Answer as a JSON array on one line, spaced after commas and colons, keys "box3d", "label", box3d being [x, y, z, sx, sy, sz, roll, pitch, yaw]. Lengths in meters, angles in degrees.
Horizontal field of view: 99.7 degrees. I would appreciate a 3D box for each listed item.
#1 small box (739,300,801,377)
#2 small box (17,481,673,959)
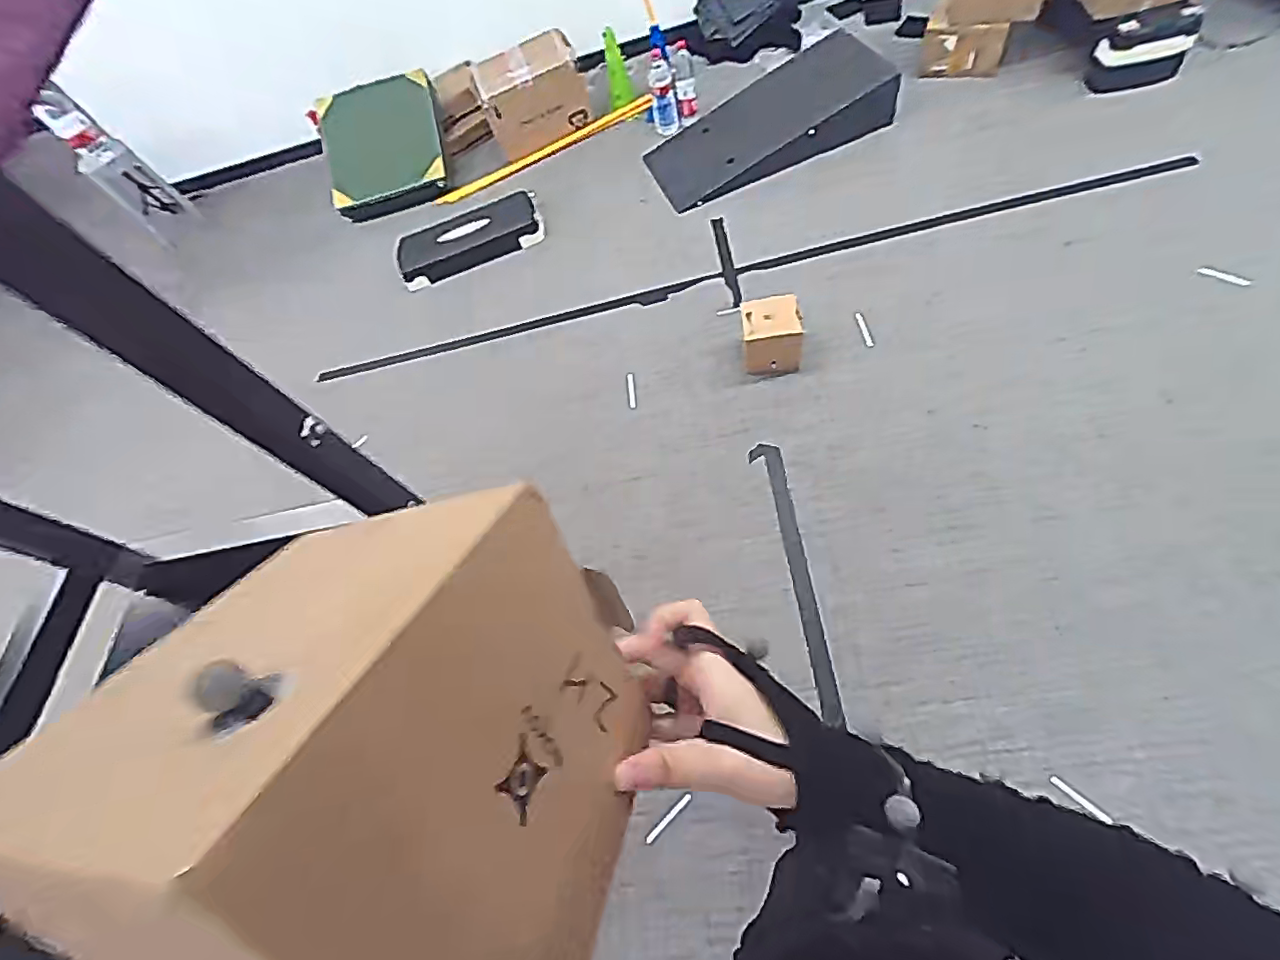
[{"box3d": [0.418, -0.455, 1.756, 0.179, 0.176, 0.168, -5, 60, 10], "label": "small box"}, {"box3d": [-0.107, 0.125, 0.246, 0.176, 0.168, 0.179, -12, 24, 24], "label": "small box"}]
